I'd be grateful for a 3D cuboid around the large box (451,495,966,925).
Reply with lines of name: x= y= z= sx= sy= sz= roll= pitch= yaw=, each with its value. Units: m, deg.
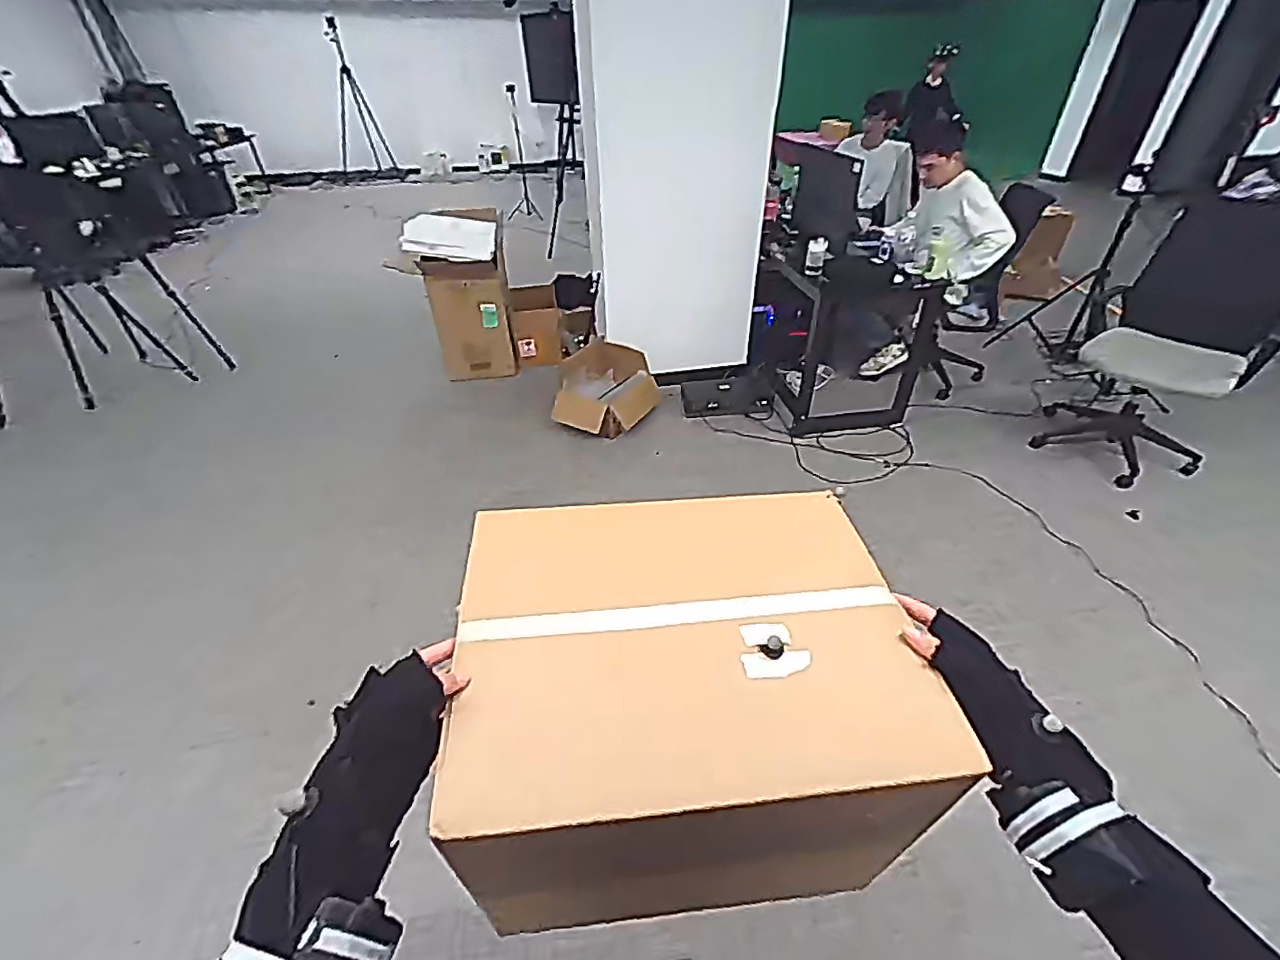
large box: x=0.037 y=0.242 z=0.605 sx=0.408 sy=0.320 sz=0.320 roll=-3 pitch=41 yaw=-7
